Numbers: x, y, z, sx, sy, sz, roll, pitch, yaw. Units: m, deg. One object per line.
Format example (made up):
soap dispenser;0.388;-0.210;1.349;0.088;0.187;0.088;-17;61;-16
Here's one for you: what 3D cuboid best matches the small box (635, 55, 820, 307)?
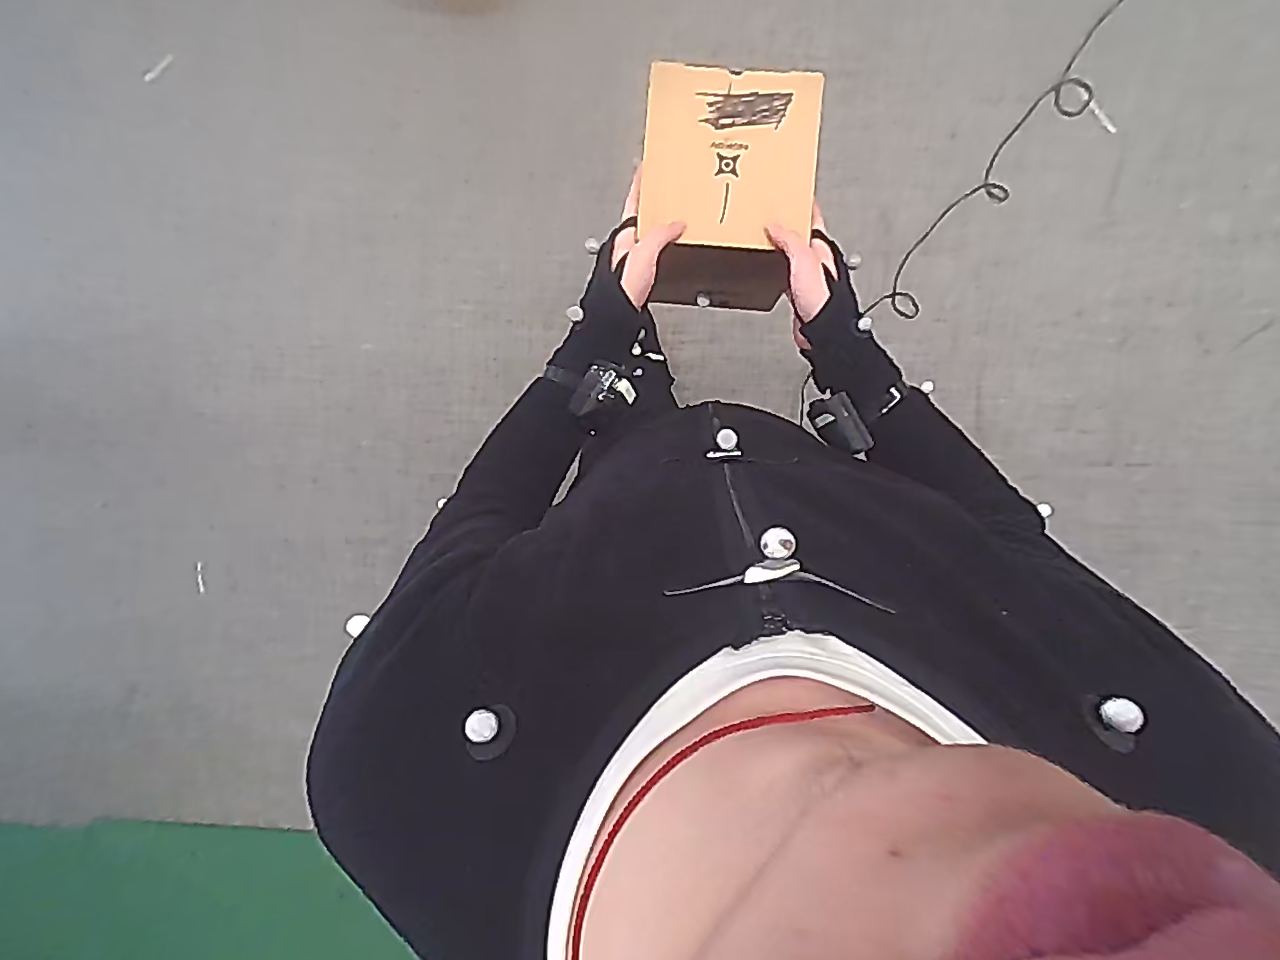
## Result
small box;0.084;-0.310;0.590;0.168;0.176;0.179;5;89;2
